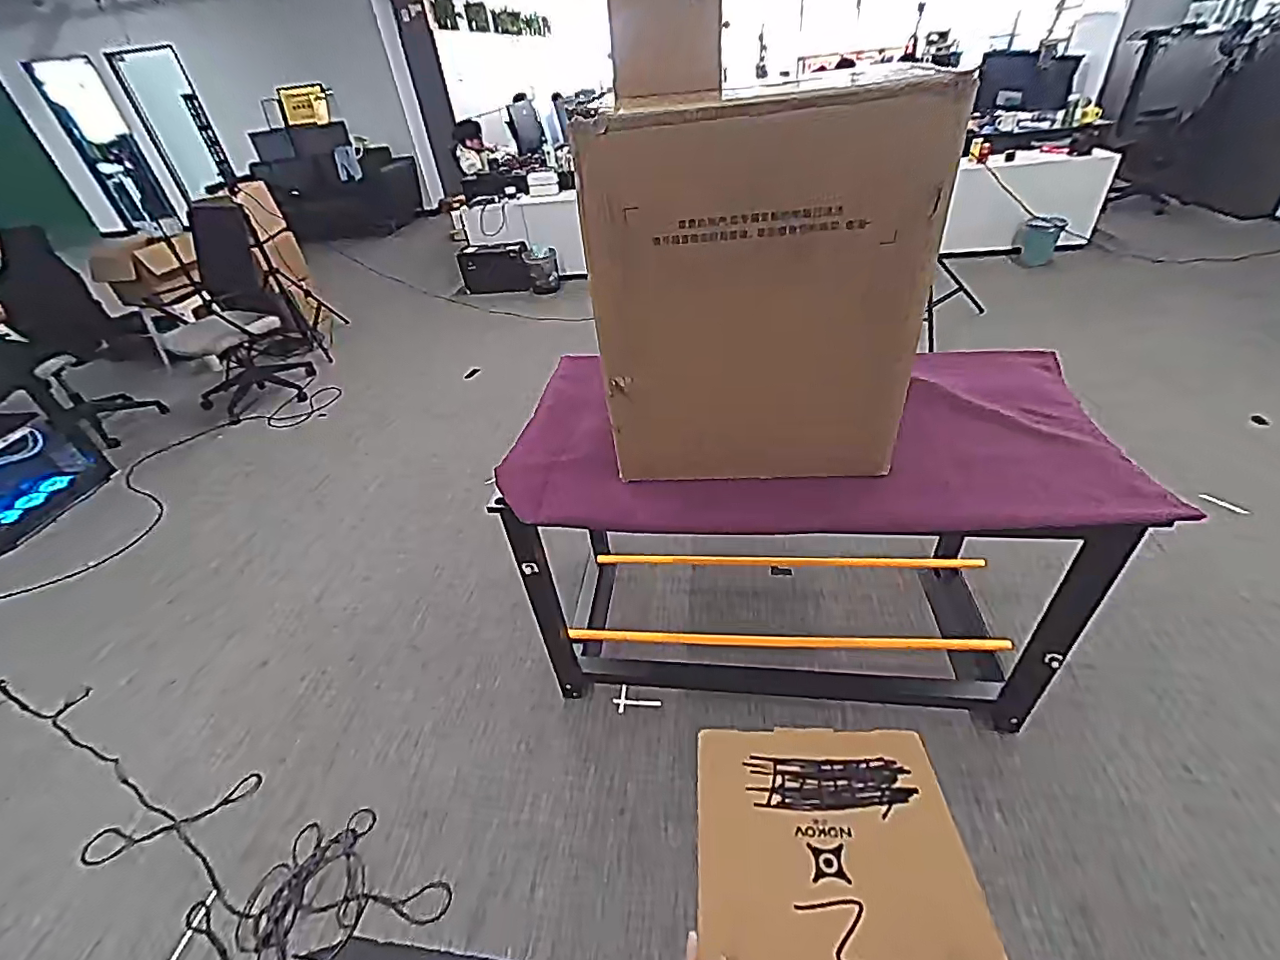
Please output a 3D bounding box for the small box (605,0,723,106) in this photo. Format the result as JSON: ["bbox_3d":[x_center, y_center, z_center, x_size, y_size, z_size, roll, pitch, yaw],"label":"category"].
[{"bbox_3d":[0.044,-0.721,0.875,0.179,0.176,0.168,-1,38,7],"label":"small box"}]
